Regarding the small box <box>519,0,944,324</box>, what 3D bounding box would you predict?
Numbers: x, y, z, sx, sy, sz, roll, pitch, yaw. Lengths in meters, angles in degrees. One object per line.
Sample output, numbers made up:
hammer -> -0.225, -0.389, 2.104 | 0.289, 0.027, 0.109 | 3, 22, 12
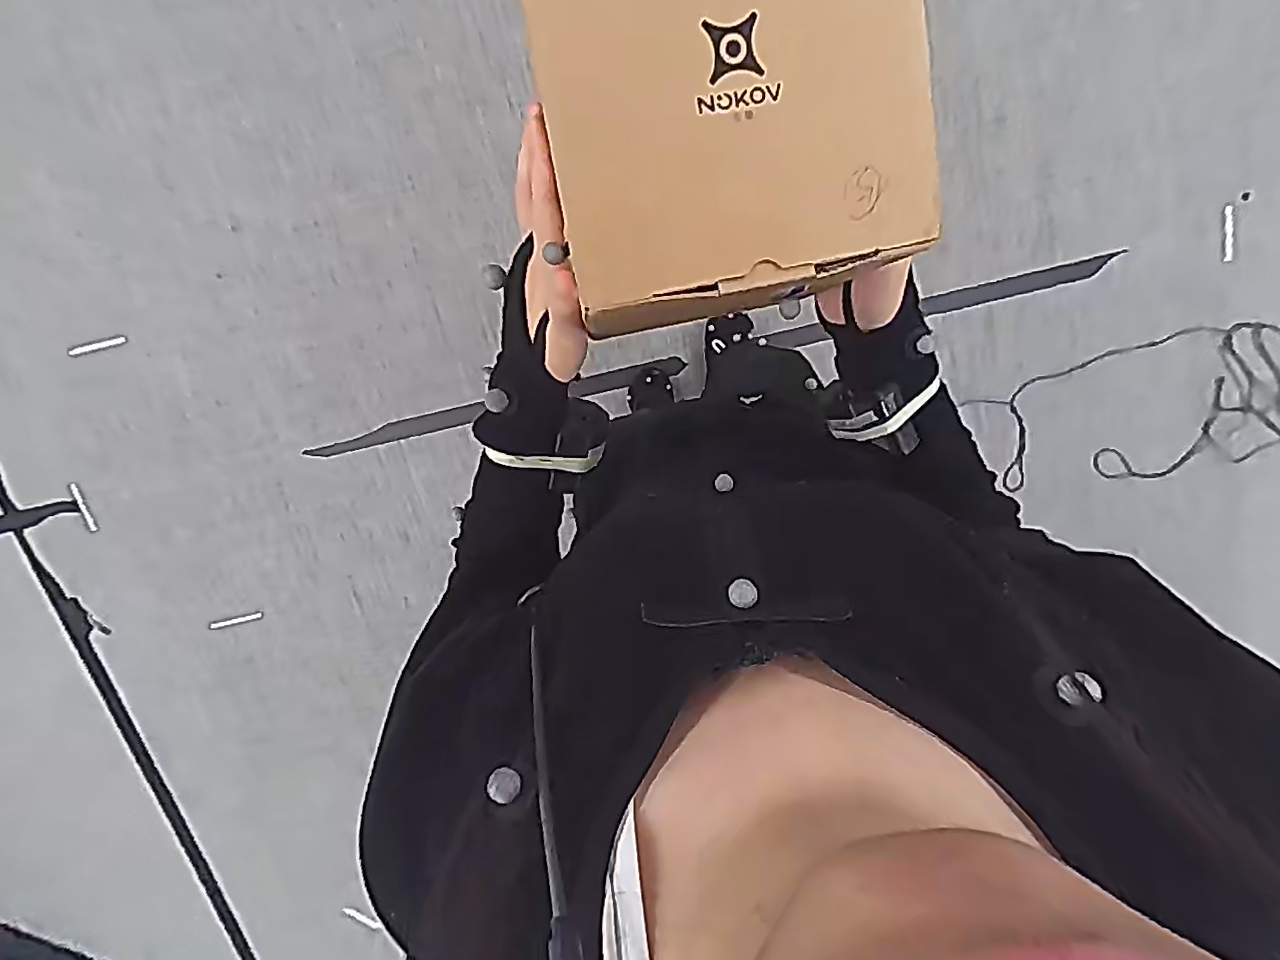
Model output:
small box -> 0.033, -0.190, 0.299 | 0.168, 0.176, 0.179 | -13, 101, -3

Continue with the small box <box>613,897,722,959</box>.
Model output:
small box -> 0.051, 0.799, 0.834 | 0.168, 0.176, 0.179 | -9, 102, -1
